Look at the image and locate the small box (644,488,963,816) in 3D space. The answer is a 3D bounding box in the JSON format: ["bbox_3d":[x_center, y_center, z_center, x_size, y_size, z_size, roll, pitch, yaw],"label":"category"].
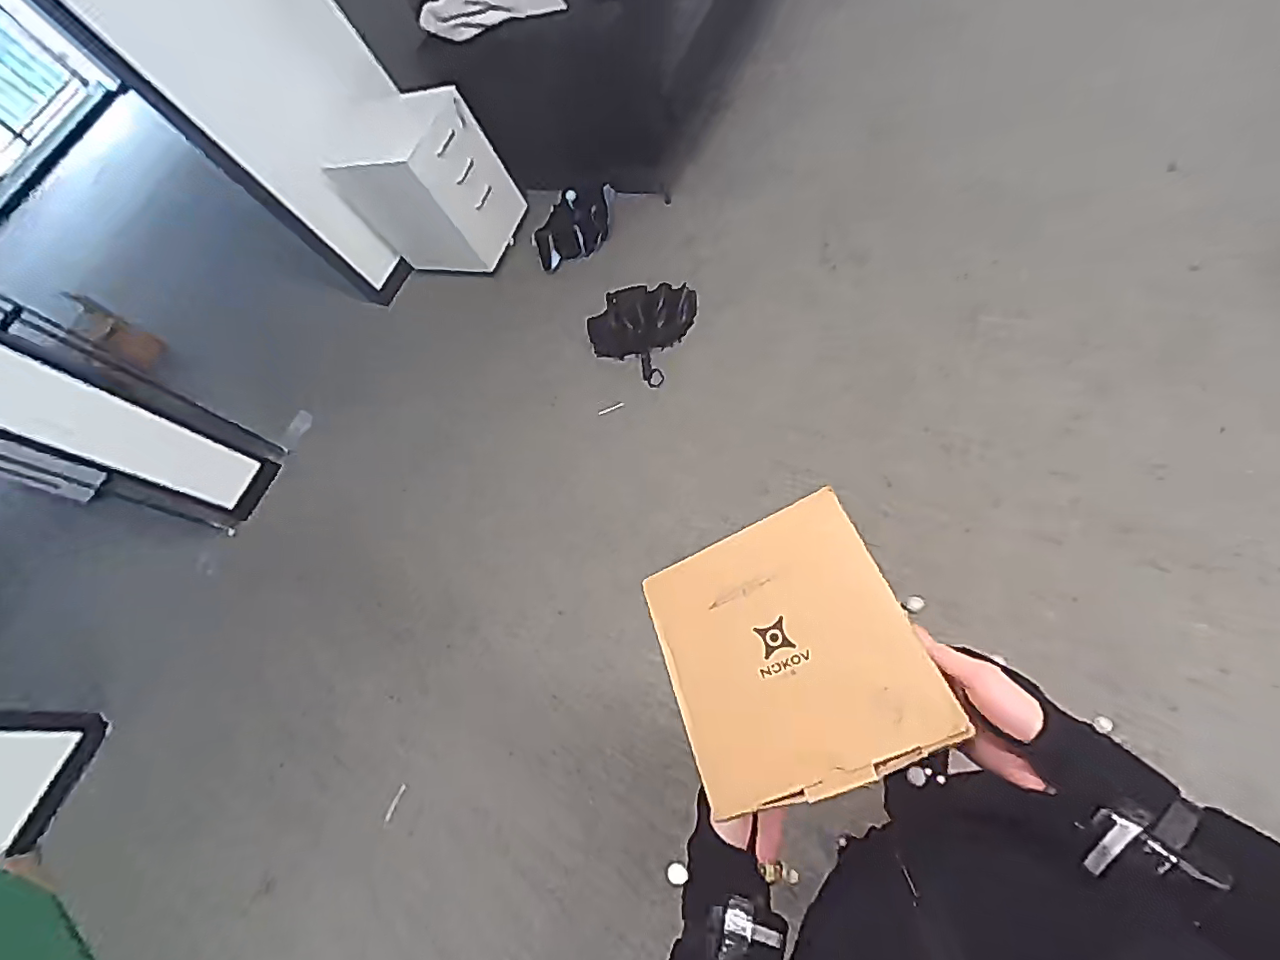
[{"bbox_3d":[0.131,0.141,0.433,0.168,0.176,0.179,-29,54,14],"label":"small box"}]
